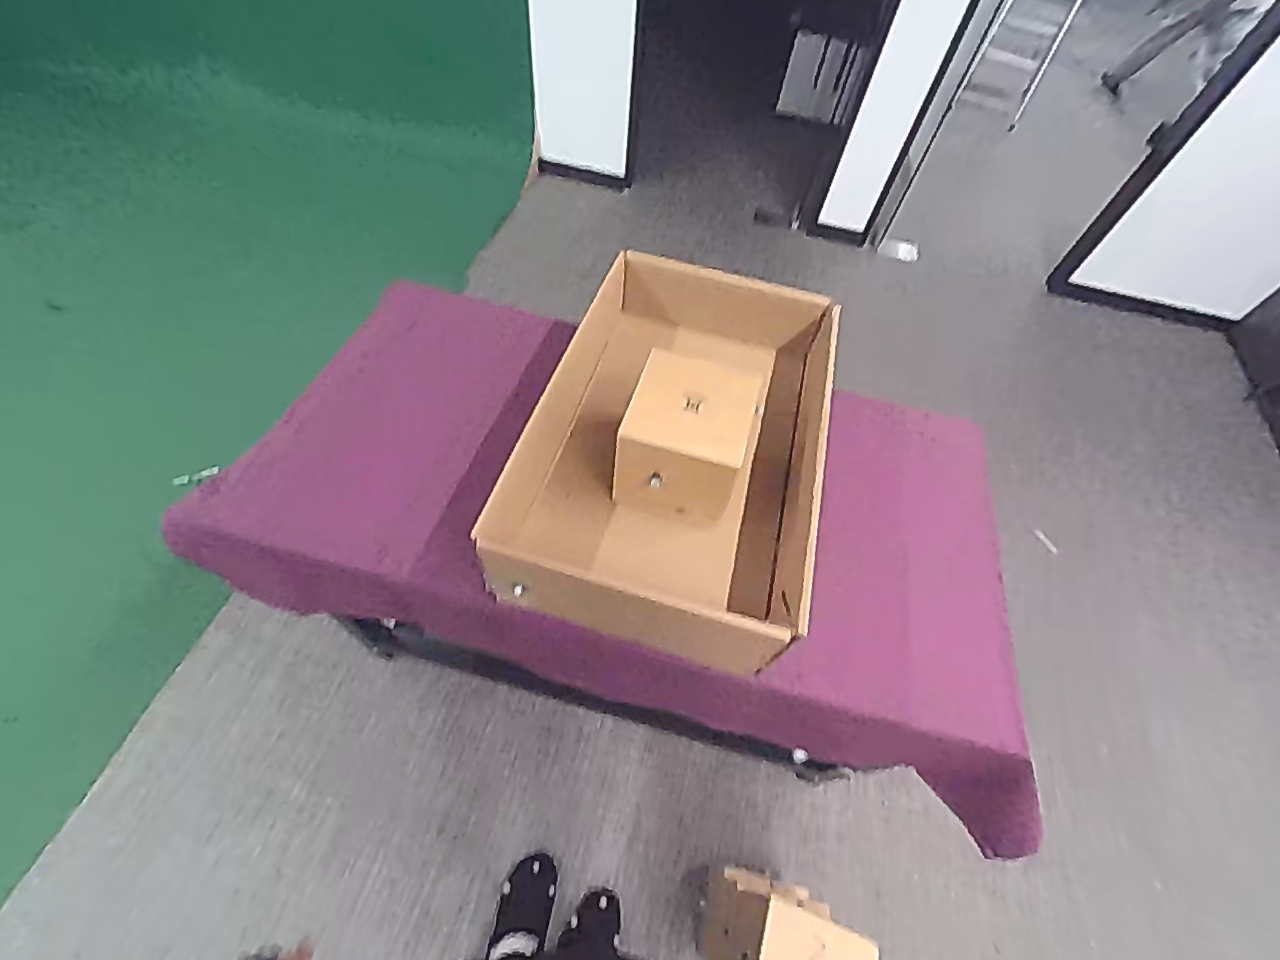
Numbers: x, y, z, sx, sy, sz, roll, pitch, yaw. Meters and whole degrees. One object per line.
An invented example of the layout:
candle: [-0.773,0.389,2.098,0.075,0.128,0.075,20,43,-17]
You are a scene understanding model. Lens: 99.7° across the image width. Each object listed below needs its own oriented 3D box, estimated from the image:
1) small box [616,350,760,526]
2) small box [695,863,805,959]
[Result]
small box: [0.066,-0.056,0.799,0.168,0.176,0.179,16,55,6]
small box: [0.223,0.908,1.113,0.179,0.176,0.168,14,56,4]
